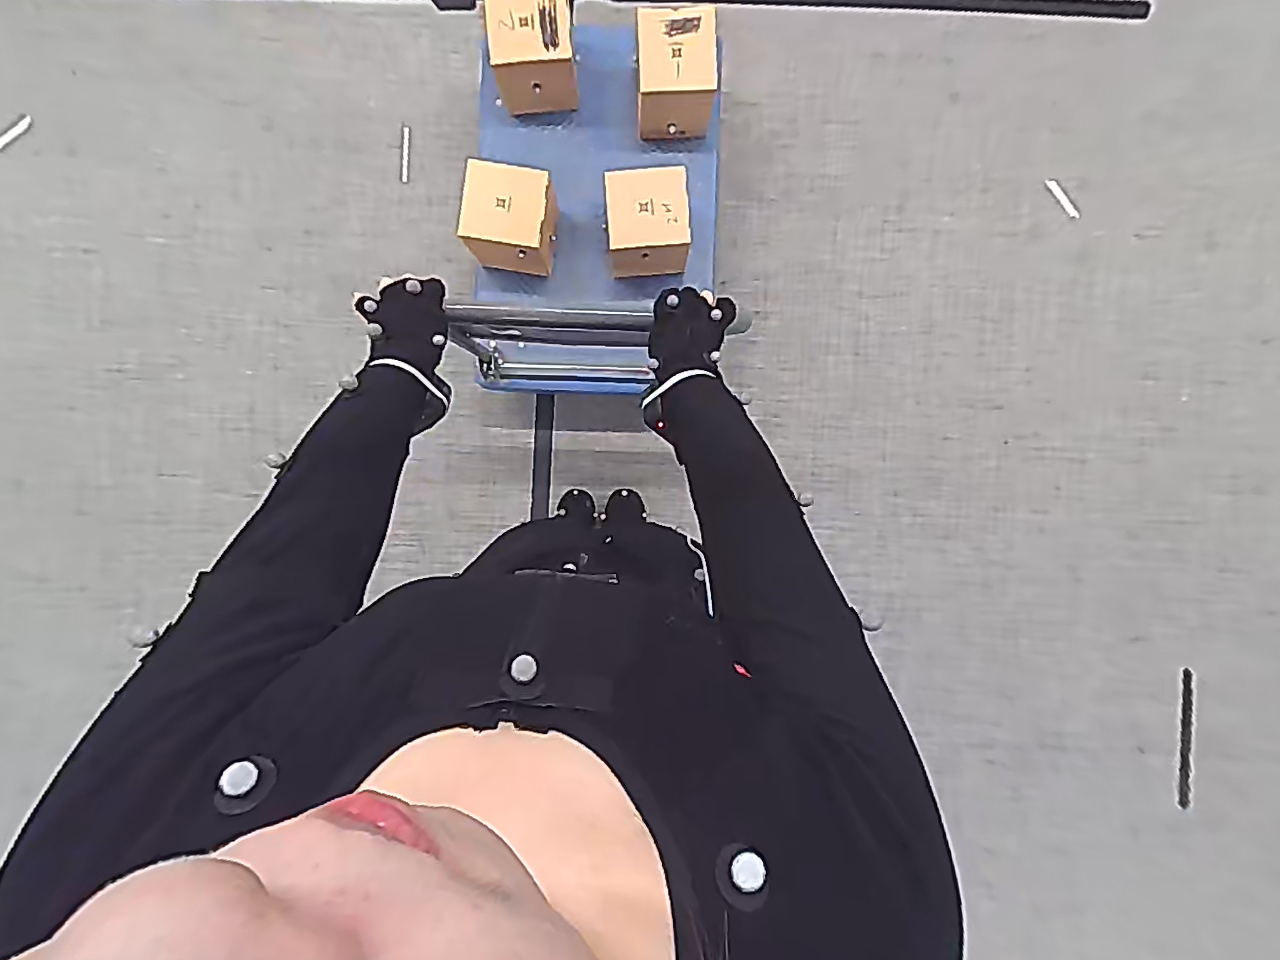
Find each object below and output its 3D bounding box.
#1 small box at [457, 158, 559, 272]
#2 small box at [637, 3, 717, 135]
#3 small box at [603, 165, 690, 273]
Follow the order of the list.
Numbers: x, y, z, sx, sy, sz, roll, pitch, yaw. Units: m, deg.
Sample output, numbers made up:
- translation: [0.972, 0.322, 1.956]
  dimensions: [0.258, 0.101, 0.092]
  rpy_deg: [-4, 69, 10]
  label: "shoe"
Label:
- translation: [-0.289, -0.585, 1.215]
  dimensions: [0.179, 0.176, 0.168]
  rpy_deg: [8, 91, -2]
  label: "small box"
- translation: [0.078, -0.908, 1.207]
  dimensions: [0.168, 0.176, 0.179]
  rpy_deg: [-2, 92, 0]
  label: "small box"
- translation: [0.015, -0.576, 1.215]
  dimensions: [0.179, 0.176, 0.168]
  rpy_deg: [-4, 92, 0]
  label: "small box"
